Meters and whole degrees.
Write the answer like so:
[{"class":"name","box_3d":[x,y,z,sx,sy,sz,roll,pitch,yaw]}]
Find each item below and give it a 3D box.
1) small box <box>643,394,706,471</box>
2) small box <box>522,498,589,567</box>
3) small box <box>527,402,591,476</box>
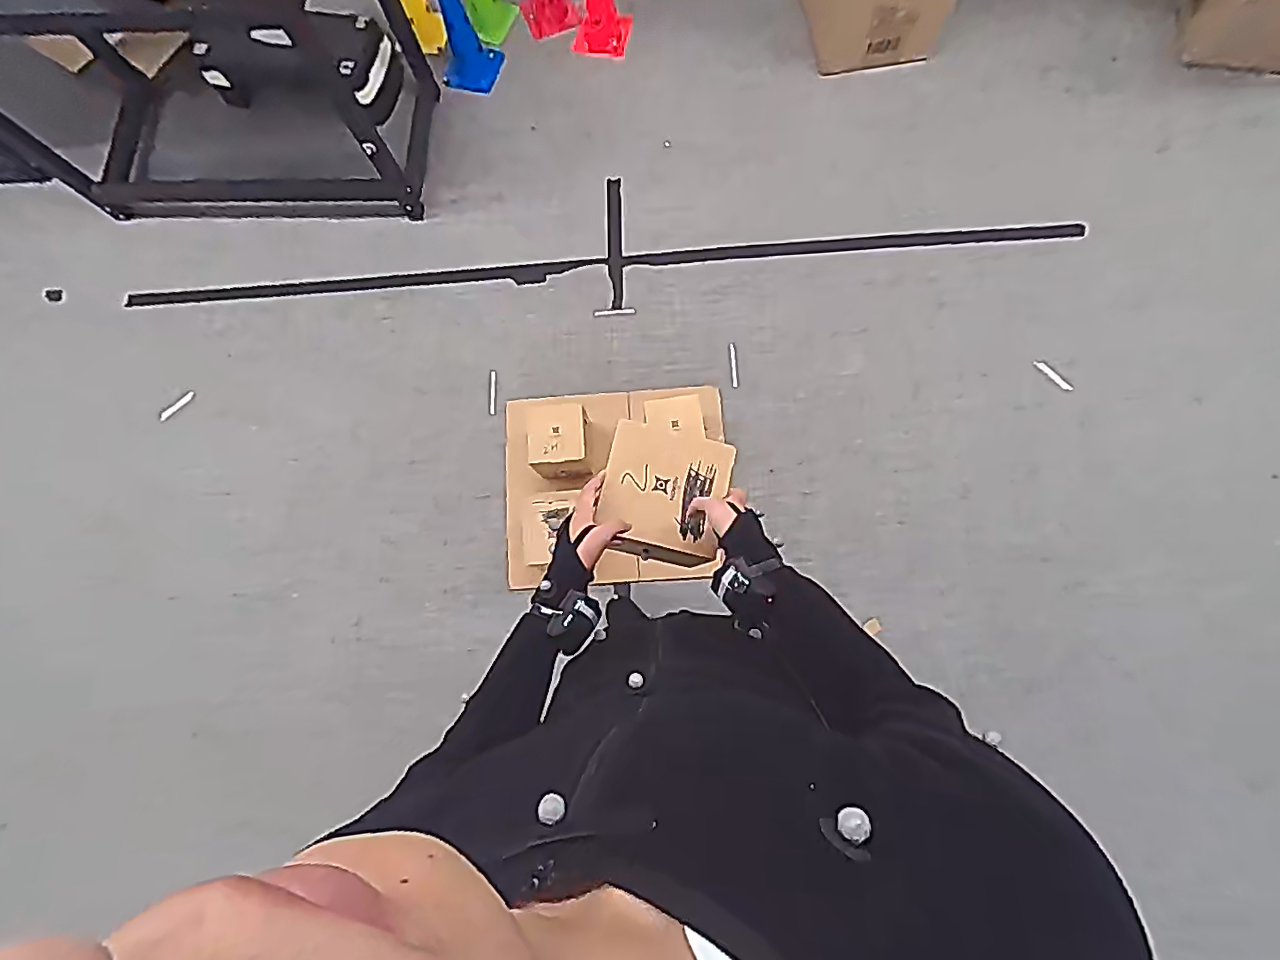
[{"class":"small box","box_3d":[0.100,-0.140,1.637,0.168,0.176,0.179,-8,77,1]},{"class":"small box","box_3d":[-0.244,0.158,1.578,0.168,0.176,0.179,-5,78,2]},{"class":"small box","box_3d":[-0.243,-0.120,1.641,0.168,0.176,0.179,-5,77,2]}]
